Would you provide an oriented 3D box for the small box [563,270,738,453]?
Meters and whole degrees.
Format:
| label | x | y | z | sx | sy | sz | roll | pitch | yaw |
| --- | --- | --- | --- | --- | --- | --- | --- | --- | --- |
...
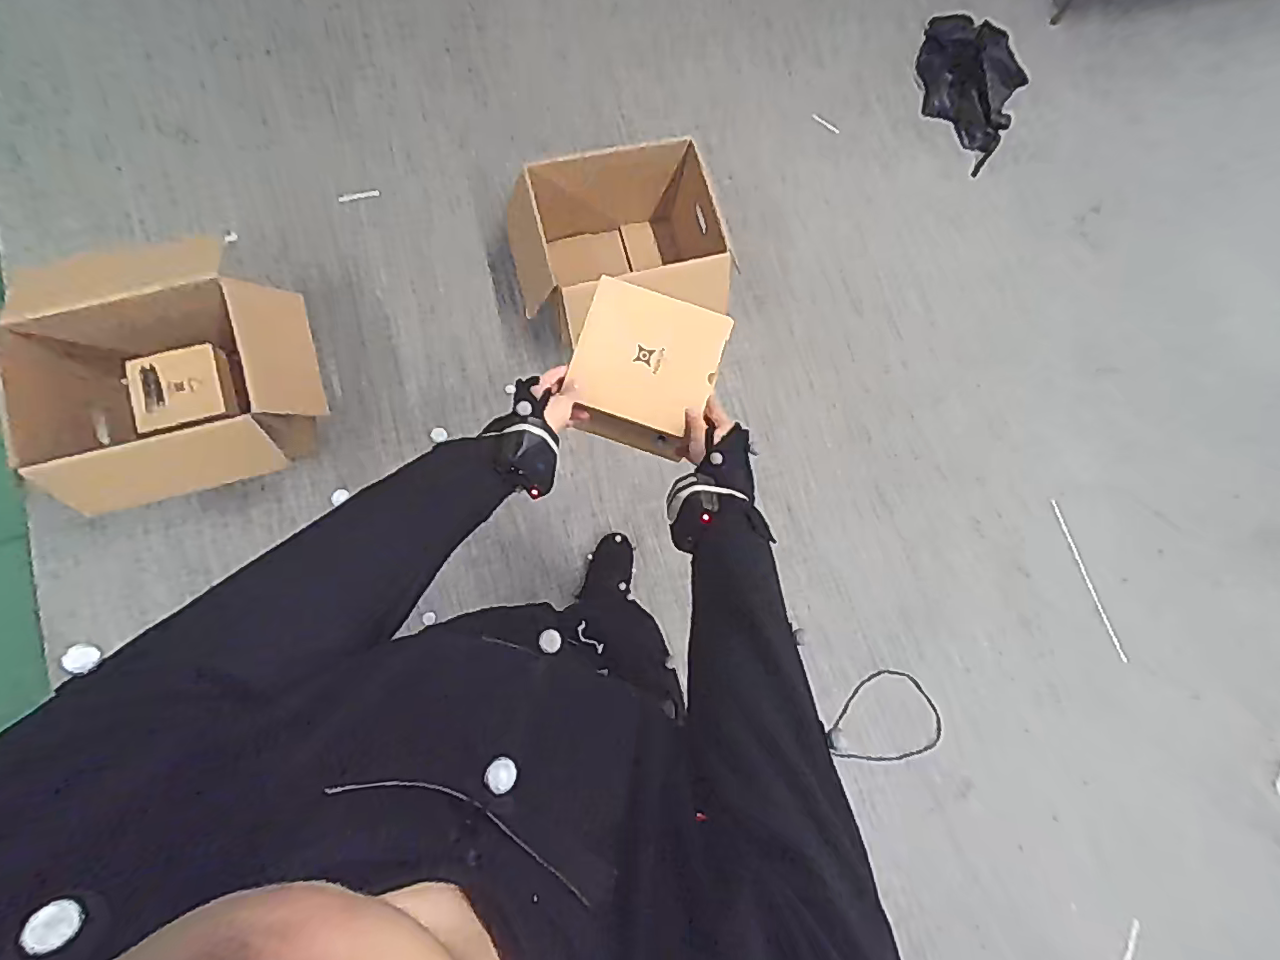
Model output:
| label | x | y | z | sx | sy | sz | roll | pitch | yaw |
| --- | --- | --- | --- | --- | --- | --- | --- | --- | --- |
| small box | 0.009 | -0.146 | 0.730 | 0.179 | 0.176 | 0.168 | 18 | 83 | -2 |
